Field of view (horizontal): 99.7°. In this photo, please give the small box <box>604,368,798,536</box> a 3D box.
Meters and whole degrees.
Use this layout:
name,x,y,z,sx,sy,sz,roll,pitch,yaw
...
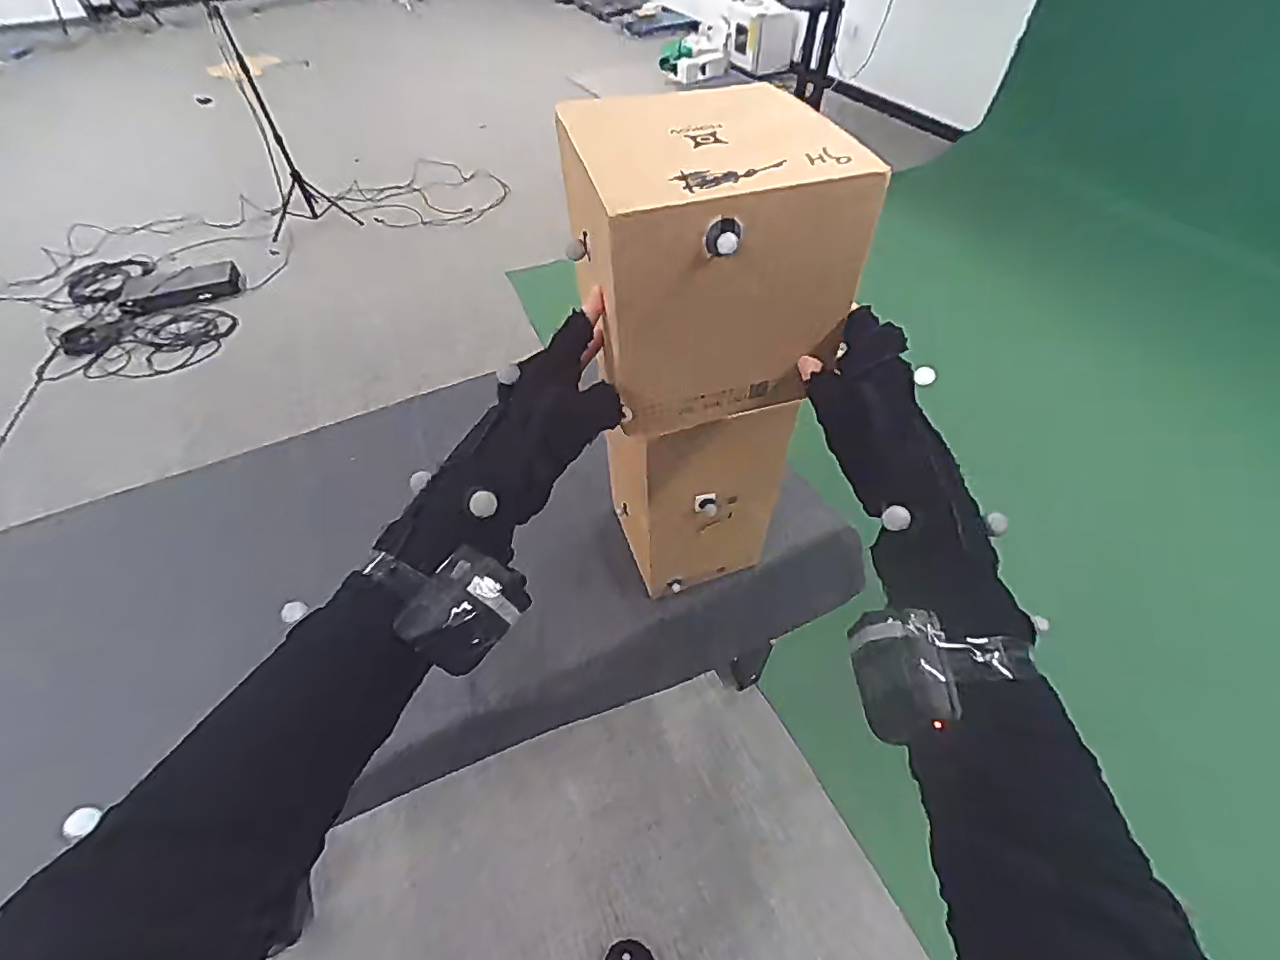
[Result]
name,x,y,z,sx,sy,sz,roll,pitch,yaw
small box,0.058,-0.064,0.638,0.168,0.176,0.179,-16,53,-10

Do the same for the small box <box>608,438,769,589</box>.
name,x,y,z,sx,sy,sz,roll,pitch,yaw
small box,0.062,0.035,0.766,0.168,0.176,0.179,-16,51,-11

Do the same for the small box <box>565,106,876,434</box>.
name,x,y,z,sx,sy,sz,roll,pitch,yaw
small box,0.044,-0.163,0.421,0.168,0.176,0.179,-13,50,-7
